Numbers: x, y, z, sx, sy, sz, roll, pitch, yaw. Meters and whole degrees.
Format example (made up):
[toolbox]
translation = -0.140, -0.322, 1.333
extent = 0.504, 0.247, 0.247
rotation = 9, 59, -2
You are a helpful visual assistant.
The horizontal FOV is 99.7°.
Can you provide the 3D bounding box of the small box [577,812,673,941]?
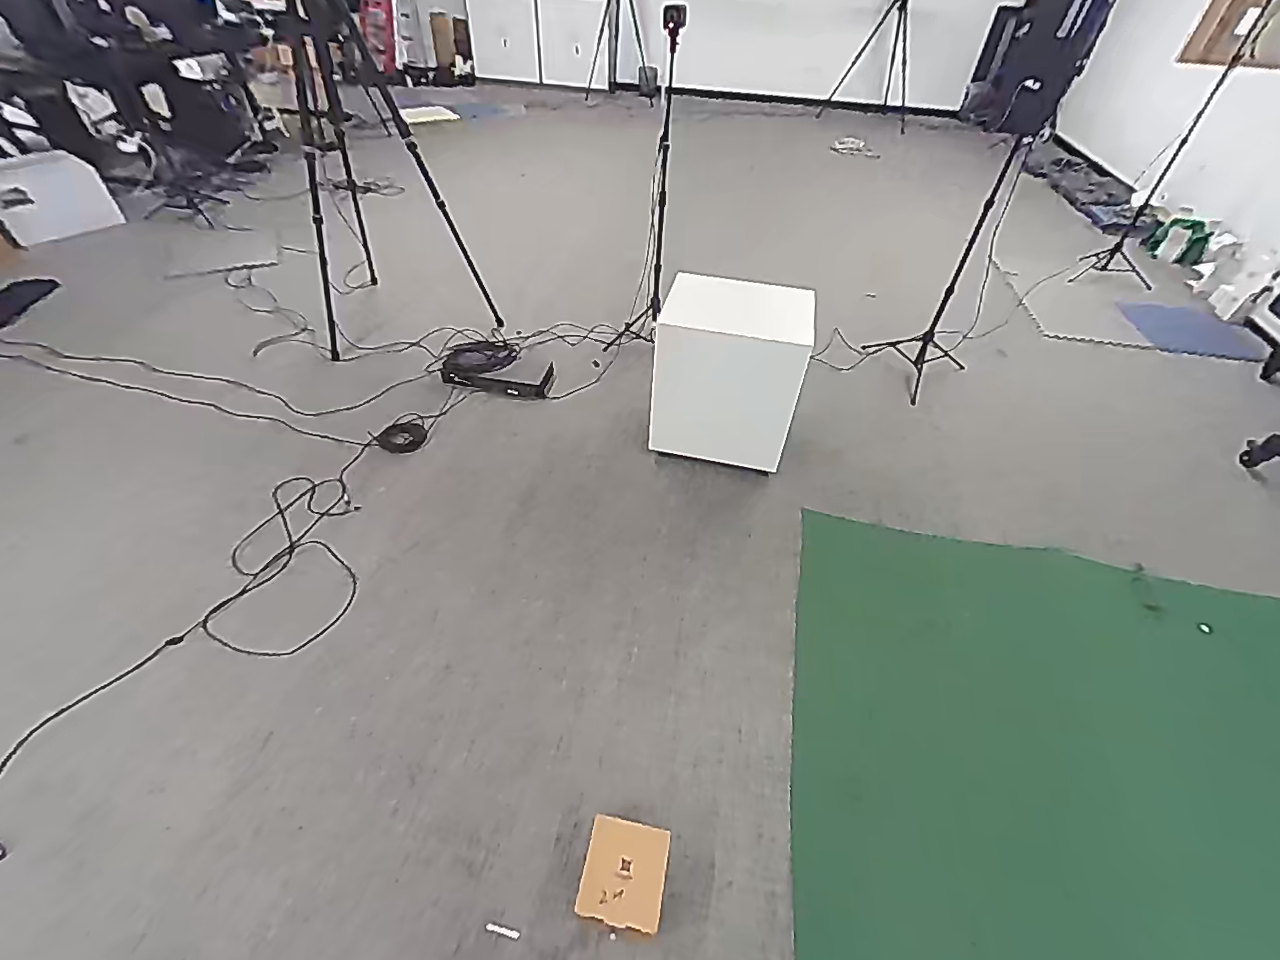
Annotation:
[small box]
translation = -0.031, 0.849, 1.156
extent = 0.168, 0.176, 0.179
rotation = 10, 46, 8
